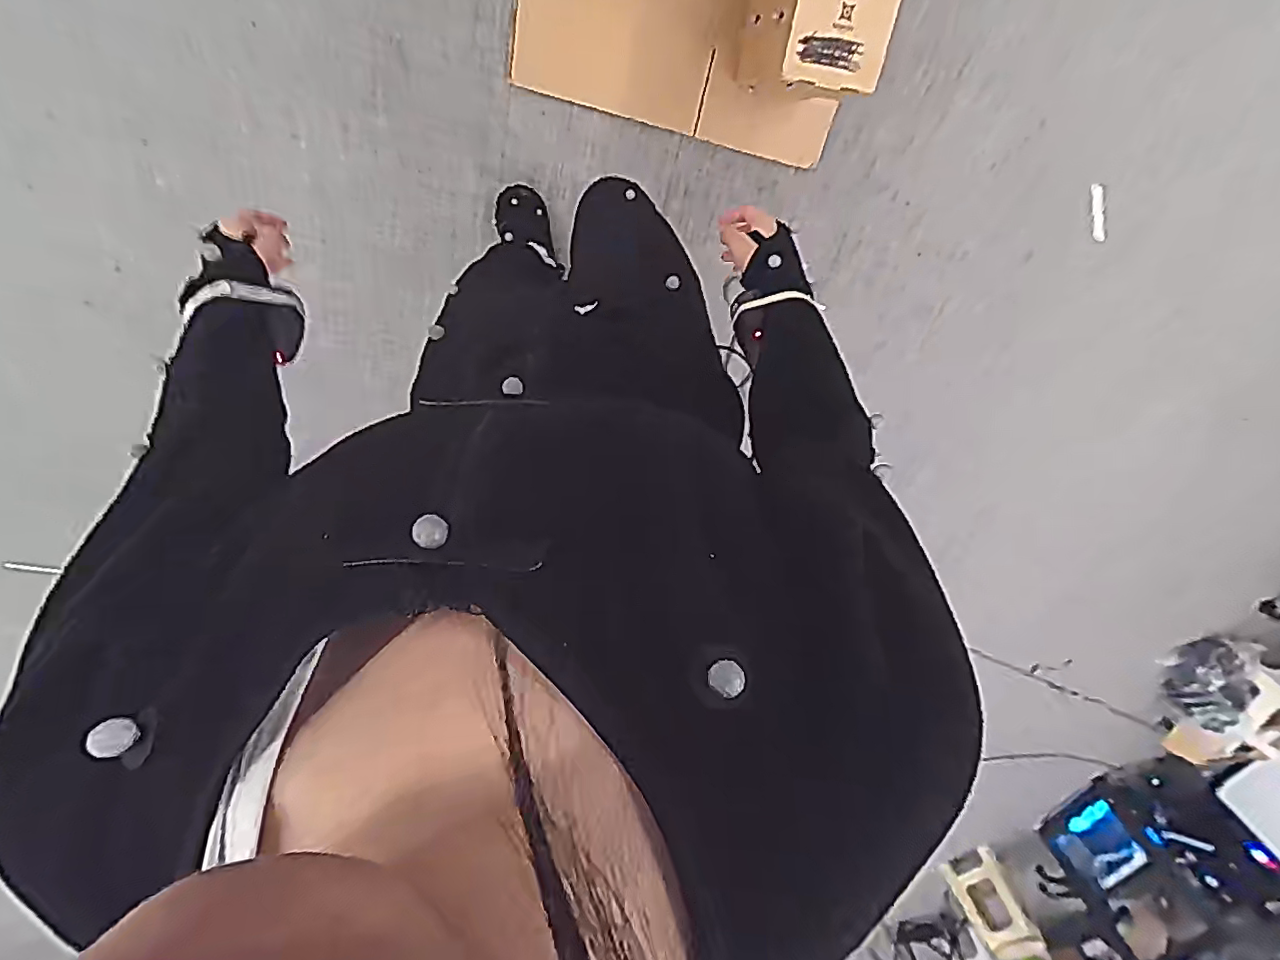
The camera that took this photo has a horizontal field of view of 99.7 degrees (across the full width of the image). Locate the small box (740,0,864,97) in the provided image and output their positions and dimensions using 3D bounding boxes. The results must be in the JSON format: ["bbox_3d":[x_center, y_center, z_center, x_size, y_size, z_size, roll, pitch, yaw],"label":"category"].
[{"bbox_3d":[0.302,-0.858,1.040,0.168,0.176,0.179,5,122,-10],"label":"small box"}]
